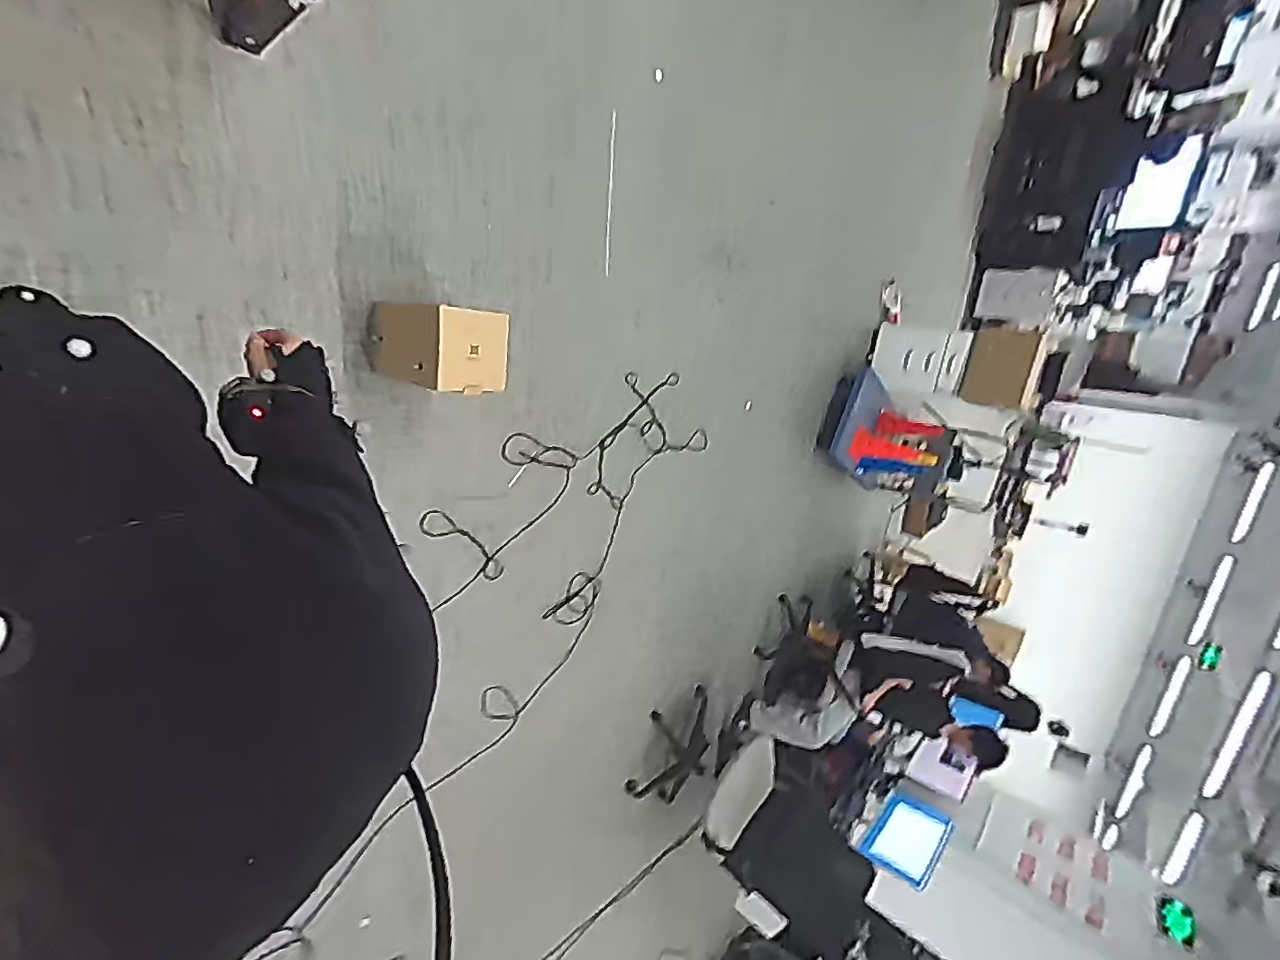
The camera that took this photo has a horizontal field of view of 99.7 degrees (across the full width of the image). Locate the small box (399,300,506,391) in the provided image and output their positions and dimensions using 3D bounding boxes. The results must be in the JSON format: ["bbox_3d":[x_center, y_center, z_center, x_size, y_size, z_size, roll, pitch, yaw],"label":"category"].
[{"bbox_3d":[-0.420,-0.297,1.202,0.168,0.176,0.179,-10,111,-48],"label":"small box"}]

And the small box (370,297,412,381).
[{"bbox_3d":[-0.536,-0.337,1.310,0.168,0.176,0.179,-7,111,-48],"label":"small box"}]
